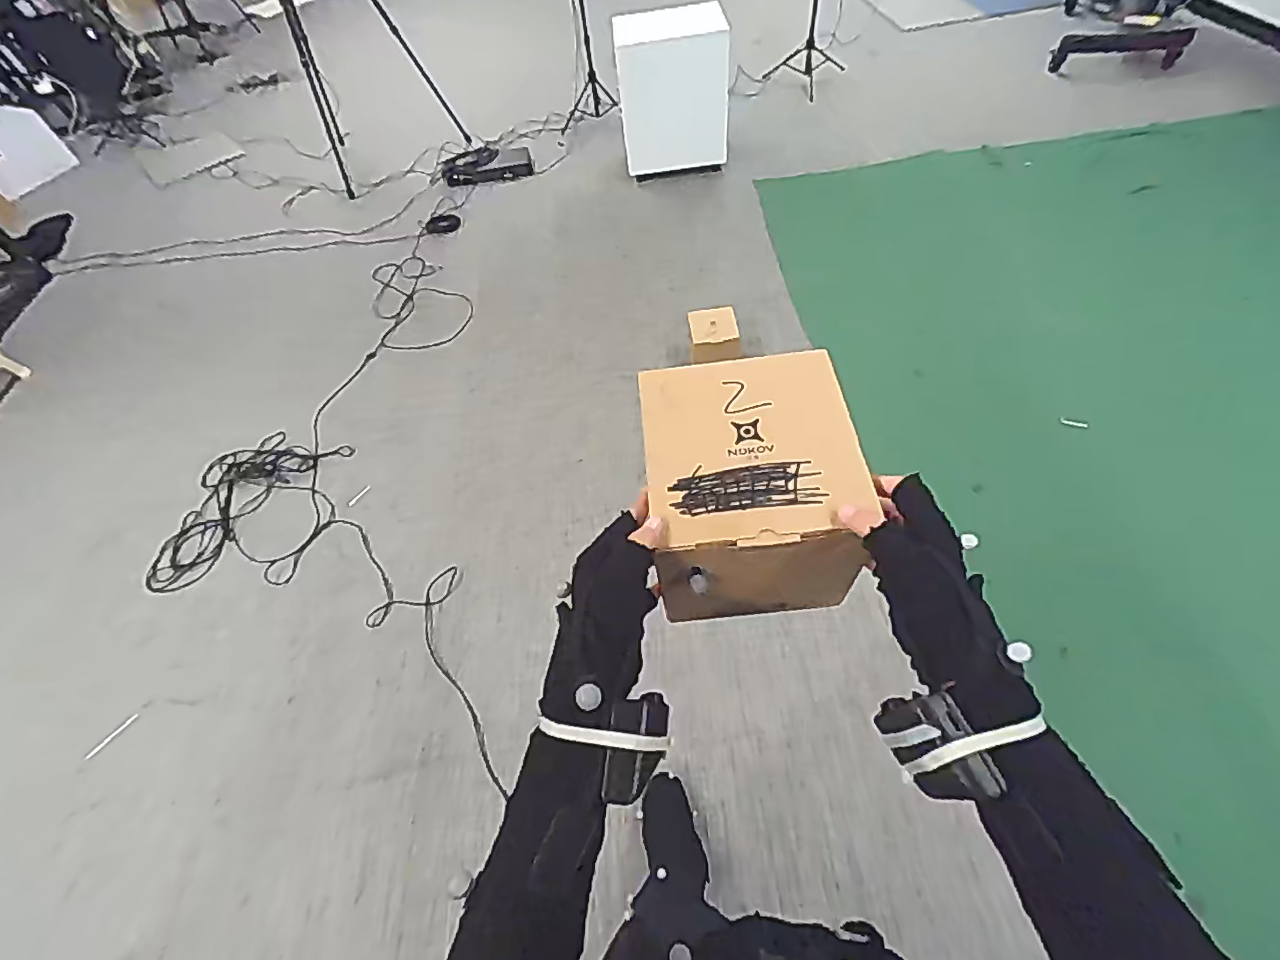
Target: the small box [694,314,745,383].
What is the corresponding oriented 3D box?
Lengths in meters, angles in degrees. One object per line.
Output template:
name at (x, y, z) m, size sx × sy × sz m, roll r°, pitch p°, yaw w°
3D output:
small box at (0.290, -0.487, 2.005) m, size 0.168 × 0.176 × 0.179 m, roll -7°, pitch 55°, yaw 3°
